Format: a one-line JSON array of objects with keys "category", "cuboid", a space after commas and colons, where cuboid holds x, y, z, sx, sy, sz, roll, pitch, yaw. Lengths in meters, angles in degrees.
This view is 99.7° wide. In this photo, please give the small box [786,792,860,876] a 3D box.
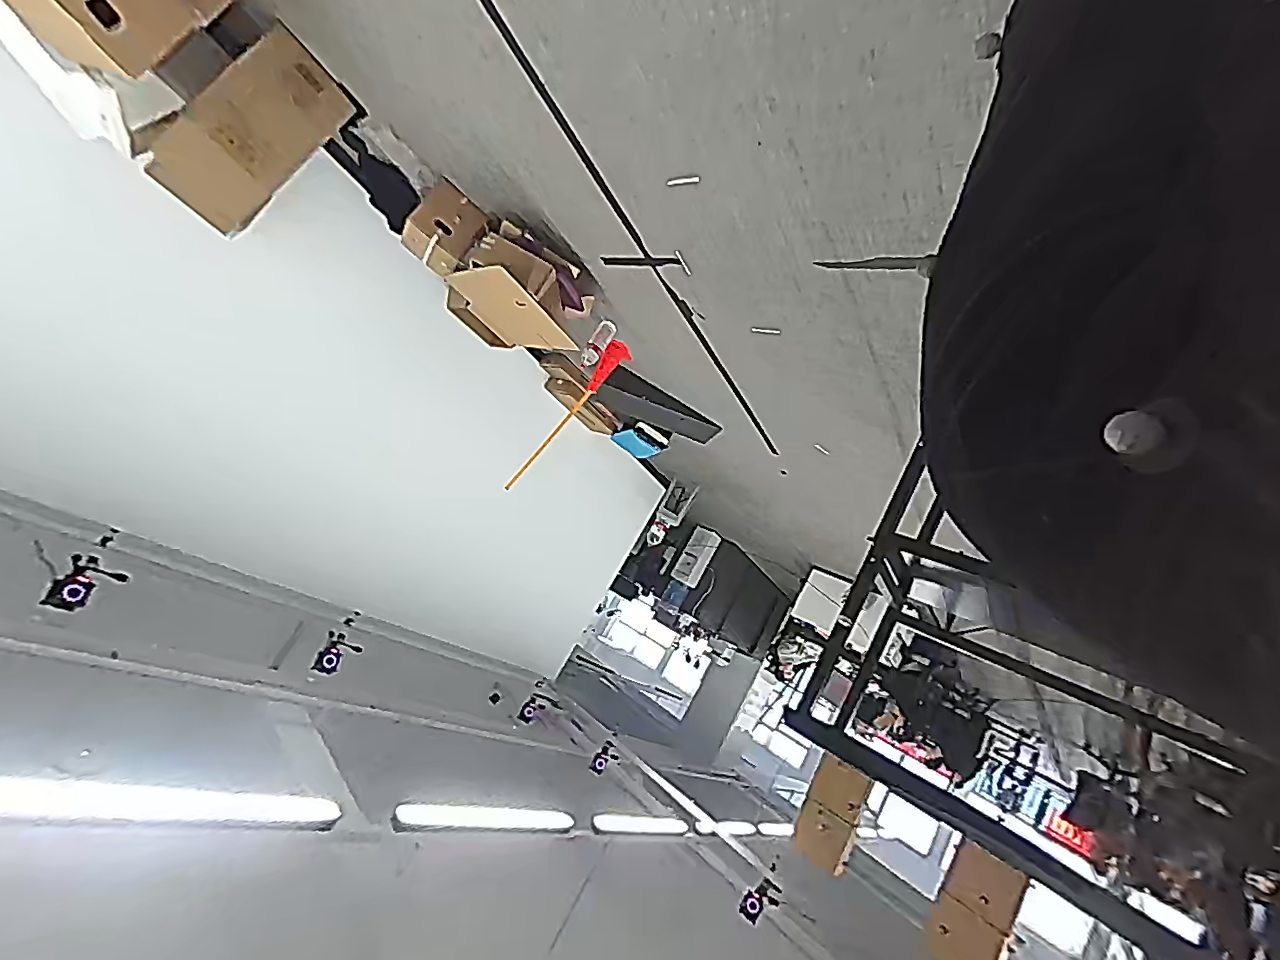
[{"category": "small box", "cuboid": [0.616, 1.171, 1.805, 0.168, 0.176, 0.179, 20, 165, 37]}]

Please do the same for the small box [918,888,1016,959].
[{"category": "small box", "cuboid": [0.922, 1.285, 1.523, 0.179, 0.176, 0.168, 17, 165, 49]}]

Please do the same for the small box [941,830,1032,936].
[{"category": "small box", "cuboid": [0.996, 1.142, 1.546, 0.179, 0.176, 0.168, 21, 166, 45]}]
